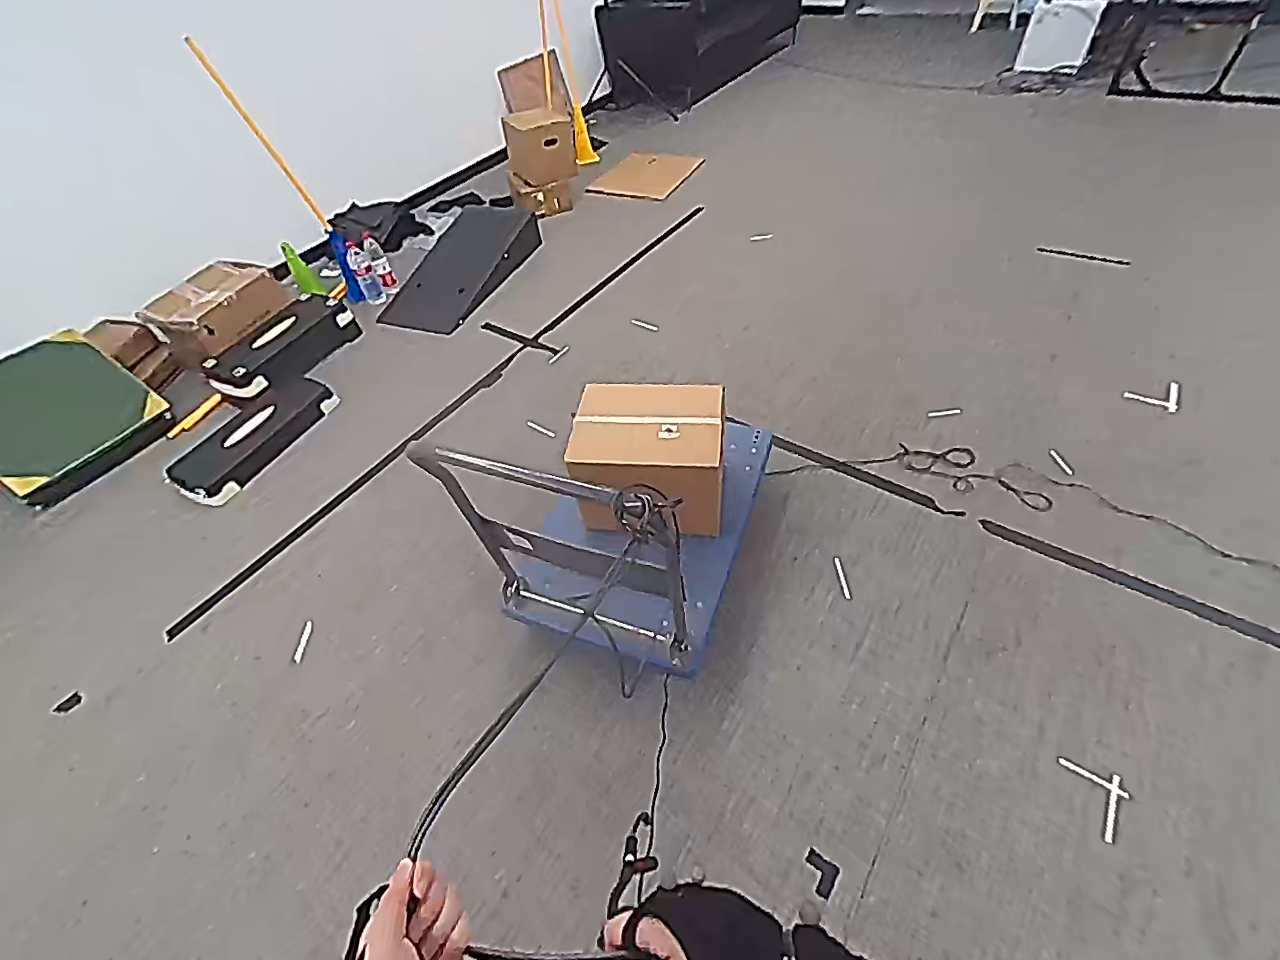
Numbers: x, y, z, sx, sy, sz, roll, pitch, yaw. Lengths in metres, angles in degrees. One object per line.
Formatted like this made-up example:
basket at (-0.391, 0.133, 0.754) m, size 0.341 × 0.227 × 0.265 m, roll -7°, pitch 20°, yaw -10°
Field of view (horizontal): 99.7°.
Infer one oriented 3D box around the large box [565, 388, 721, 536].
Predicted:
large box at (0.027, -0.052, 1.574) m, size 0.408 × 0.320 × 0.320 m, roll 2°, pitch 51°, yaw 9°
